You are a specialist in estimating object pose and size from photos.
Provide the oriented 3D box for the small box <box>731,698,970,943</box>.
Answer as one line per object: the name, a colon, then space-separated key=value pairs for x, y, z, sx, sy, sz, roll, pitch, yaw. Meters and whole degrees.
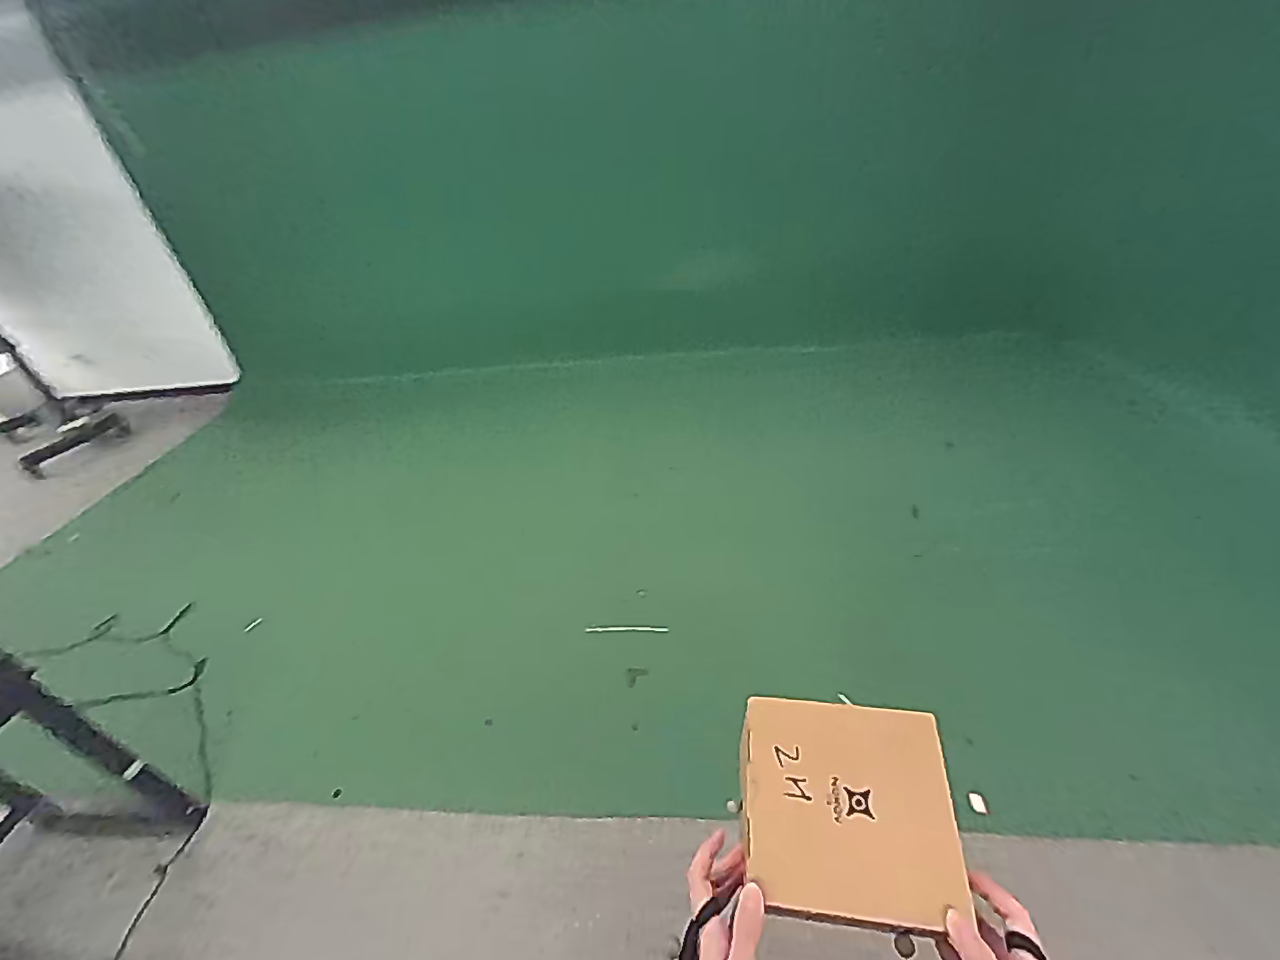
small box: x=0.183 y=0.332 z=0.531 sx=0.179 sy=0.176 sz=0.168 roll=2 pitch=49 yaw=10
